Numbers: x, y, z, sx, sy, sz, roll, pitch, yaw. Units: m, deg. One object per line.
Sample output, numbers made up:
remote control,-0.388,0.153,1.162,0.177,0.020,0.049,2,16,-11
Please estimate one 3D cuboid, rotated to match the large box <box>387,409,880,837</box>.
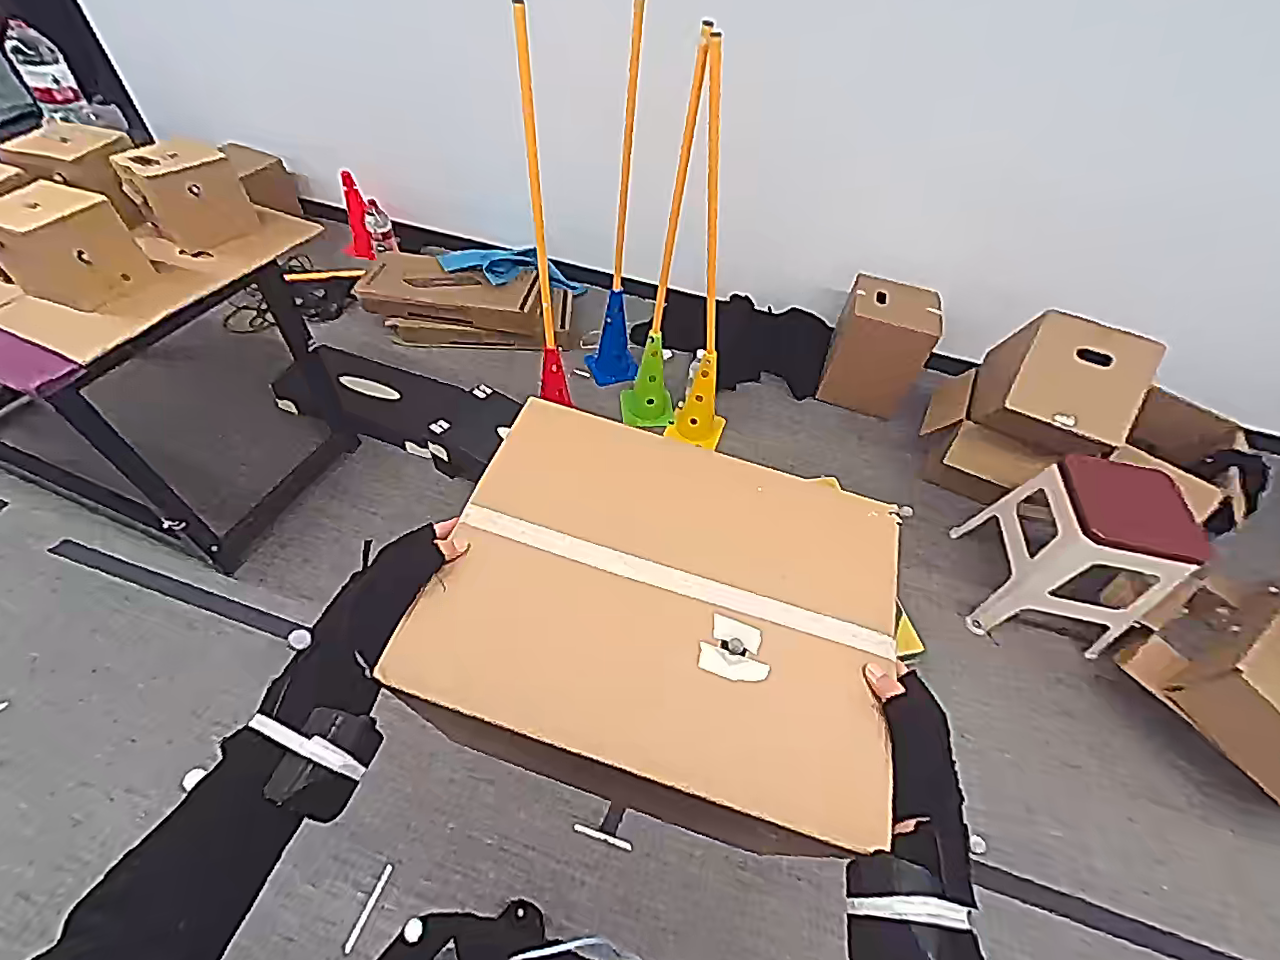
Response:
large box,0.007,0.175,0.624,0.408,0.320,0.320,17,57,4
